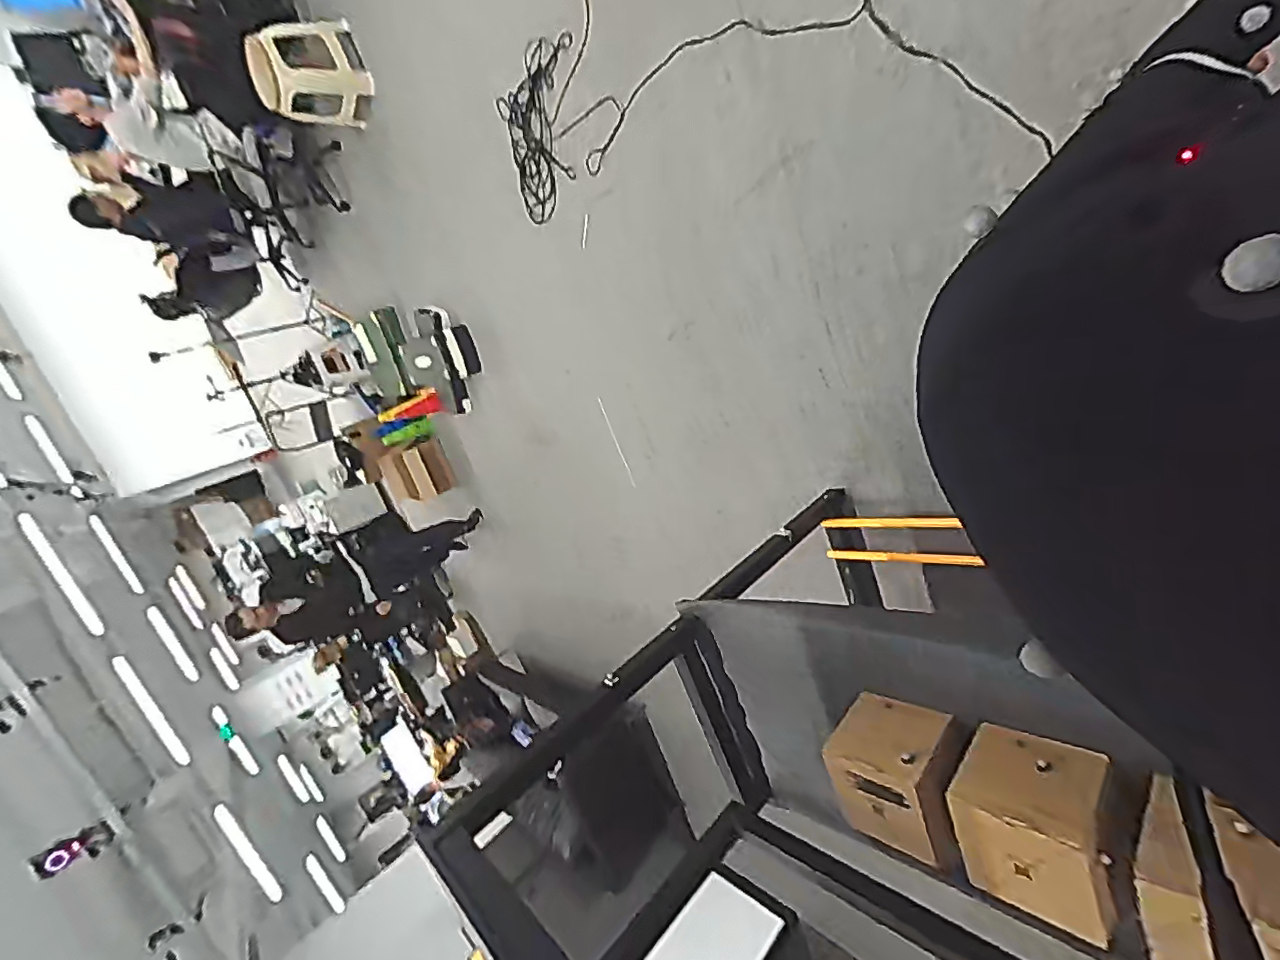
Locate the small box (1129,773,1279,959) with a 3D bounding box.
[{"bbox_3d":[0.715,0.498,0.641,0.168,0.176,0.179,-6,110,51],"label":"small box"}]
